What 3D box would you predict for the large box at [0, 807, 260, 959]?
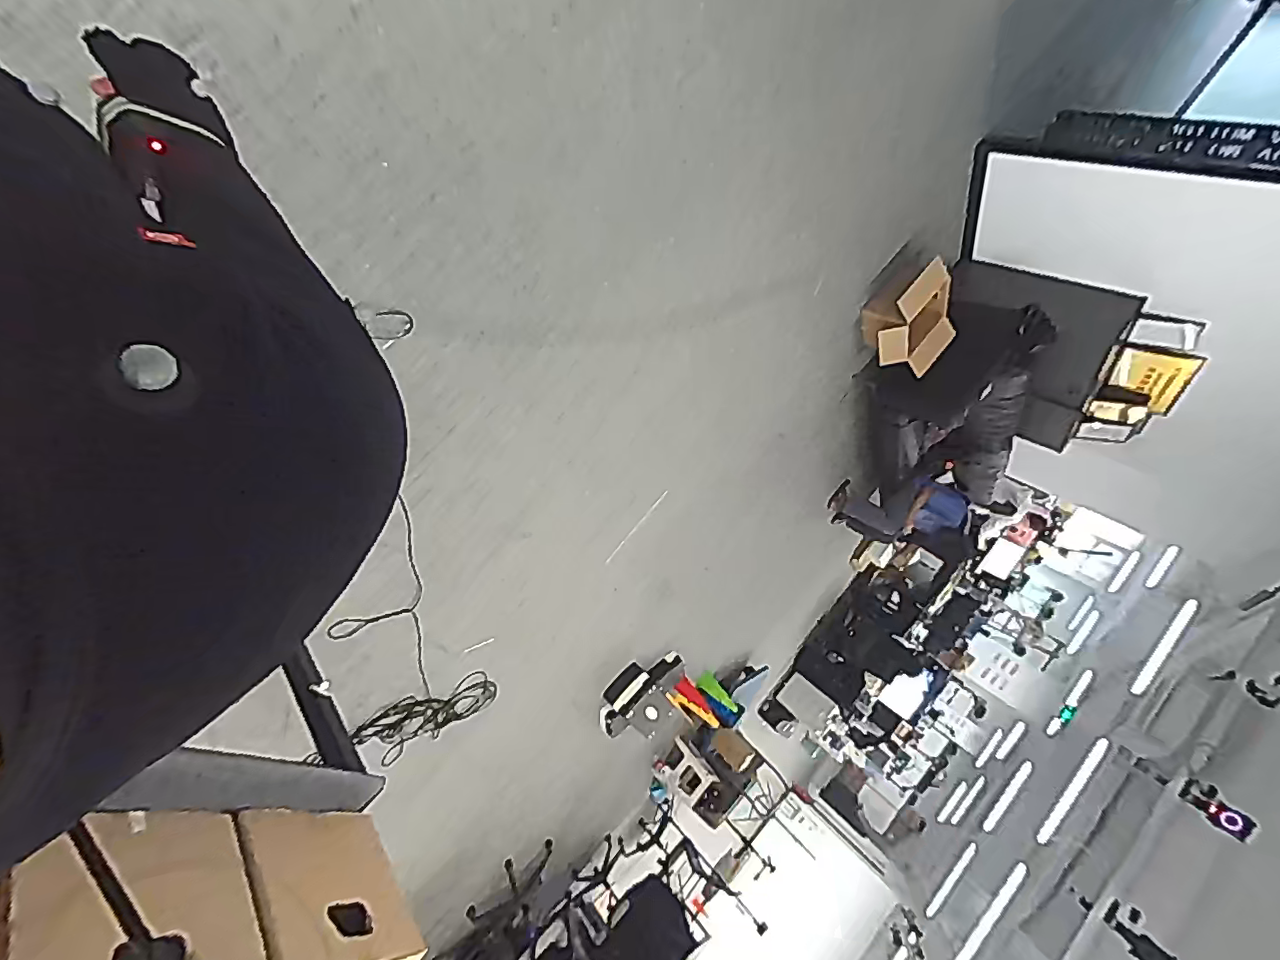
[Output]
[{"bbox_3d":[-0.798,0.705,0.689,0.408,0.320,0.320,-49,145,-10],"label":"large box"}]
